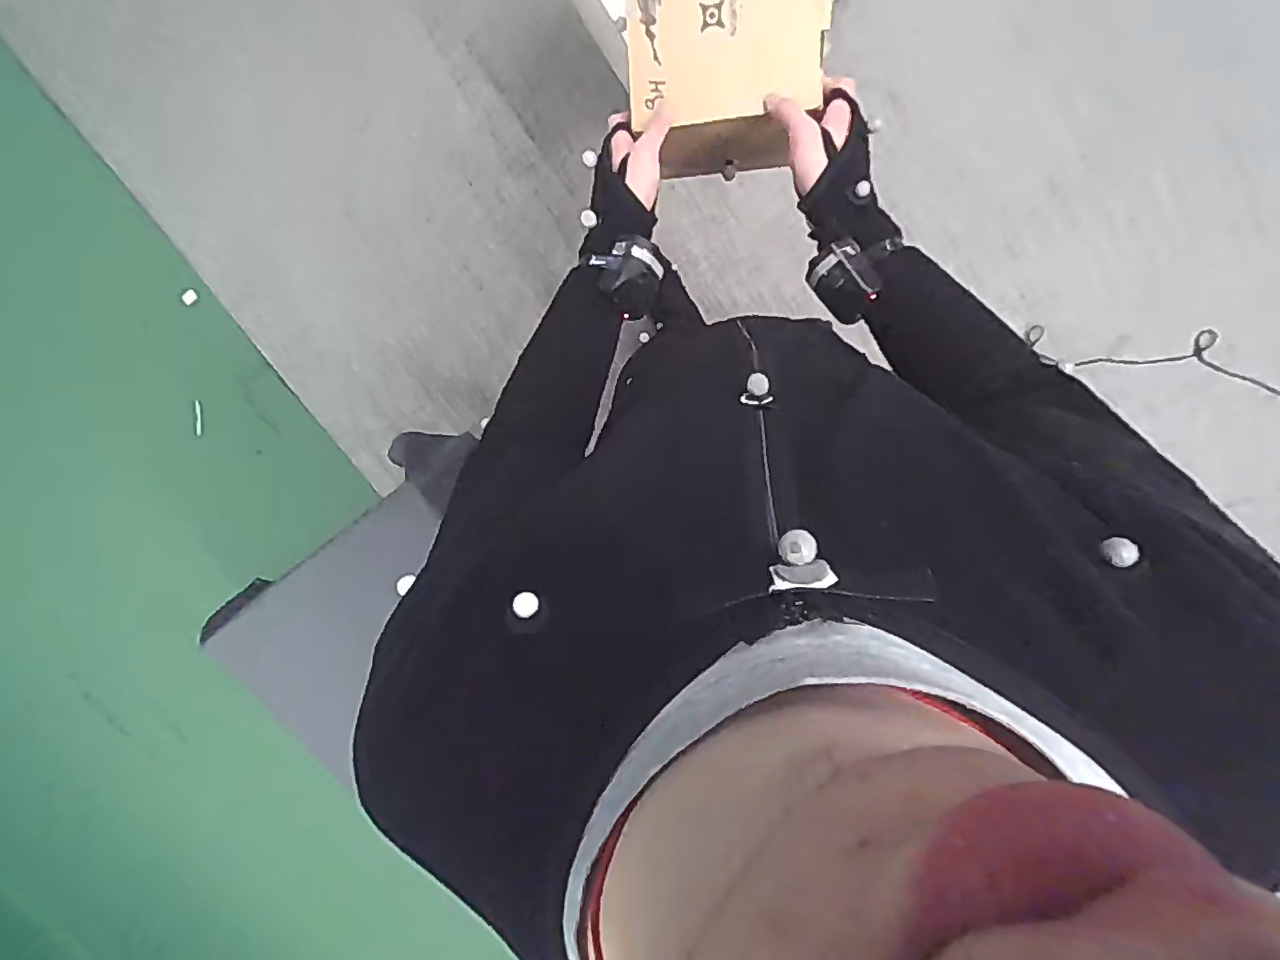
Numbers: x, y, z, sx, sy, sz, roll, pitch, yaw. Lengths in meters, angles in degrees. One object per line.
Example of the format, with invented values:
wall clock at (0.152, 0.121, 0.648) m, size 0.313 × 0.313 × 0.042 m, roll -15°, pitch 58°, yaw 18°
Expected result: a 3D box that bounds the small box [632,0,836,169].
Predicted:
small box at (0.090, -0.428, 0.541) m, size 0.179 × 0.176 × 0.168 m, roll 0°, pitch 105°, yaw 9°
